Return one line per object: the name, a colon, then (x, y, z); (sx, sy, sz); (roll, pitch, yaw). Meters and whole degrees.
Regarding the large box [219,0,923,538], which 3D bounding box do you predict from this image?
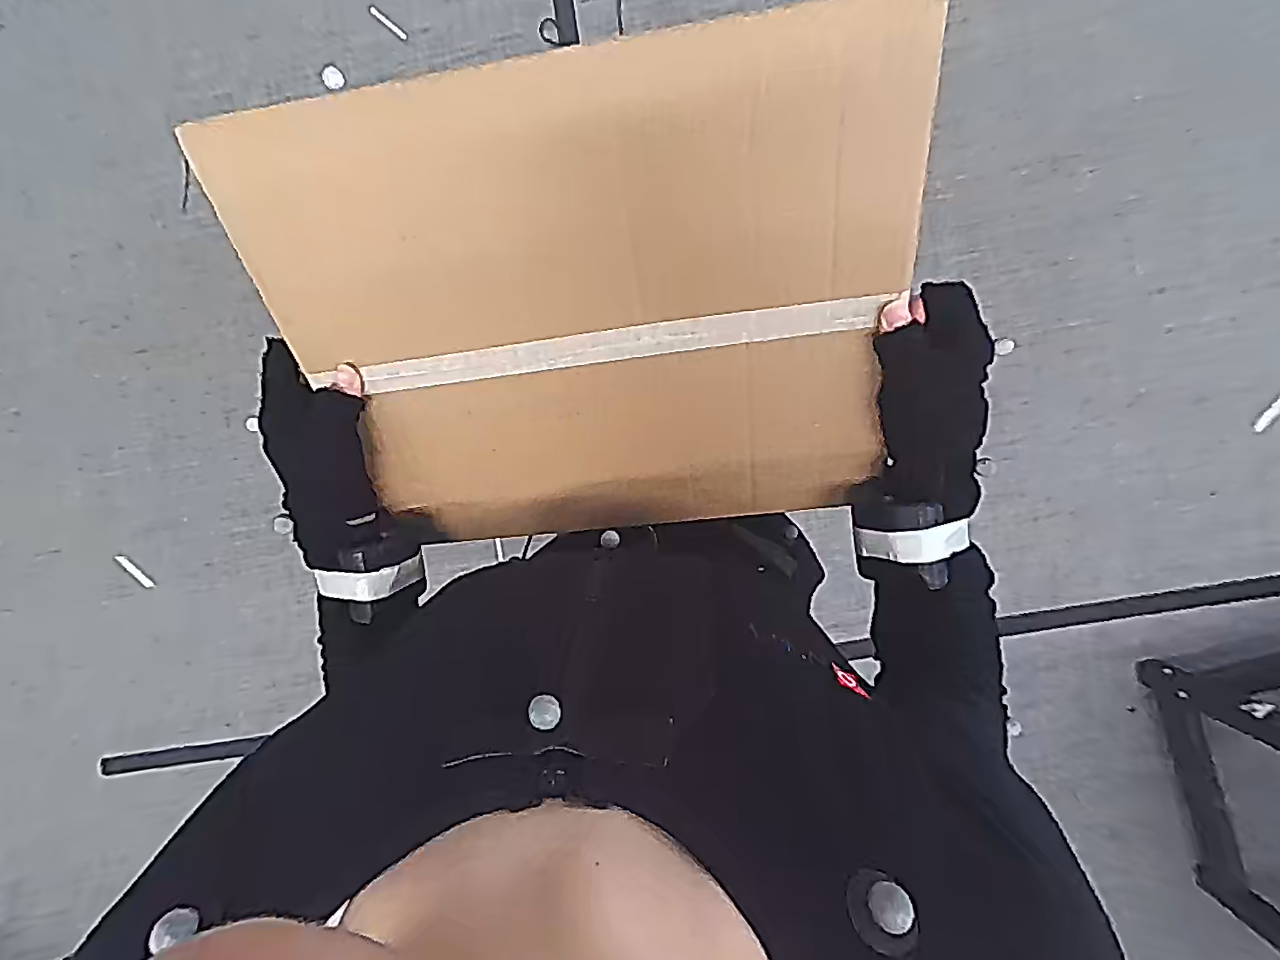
large box: (-0.027, -0.178, 0.495); (0.408, 0.320, 0.320); (-6, 126, 7)
